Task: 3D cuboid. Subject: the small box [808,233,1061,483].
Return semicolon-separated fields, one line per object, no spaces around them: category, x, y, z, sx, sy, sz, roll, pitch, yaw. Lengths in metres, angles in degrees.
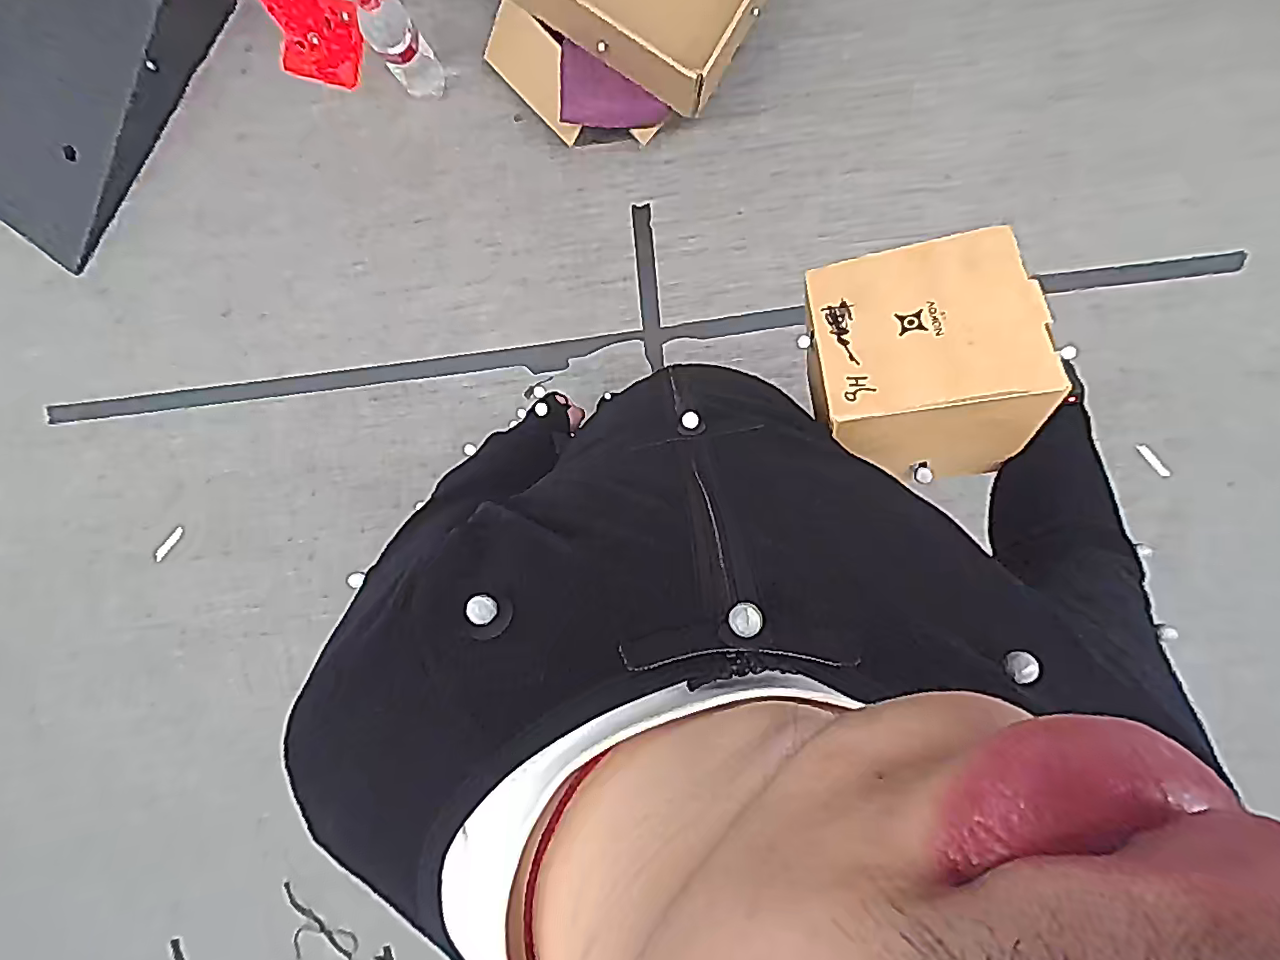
small box;0.270;-0.108;0.547;0.179;0.176;0.168;-7;66;15
